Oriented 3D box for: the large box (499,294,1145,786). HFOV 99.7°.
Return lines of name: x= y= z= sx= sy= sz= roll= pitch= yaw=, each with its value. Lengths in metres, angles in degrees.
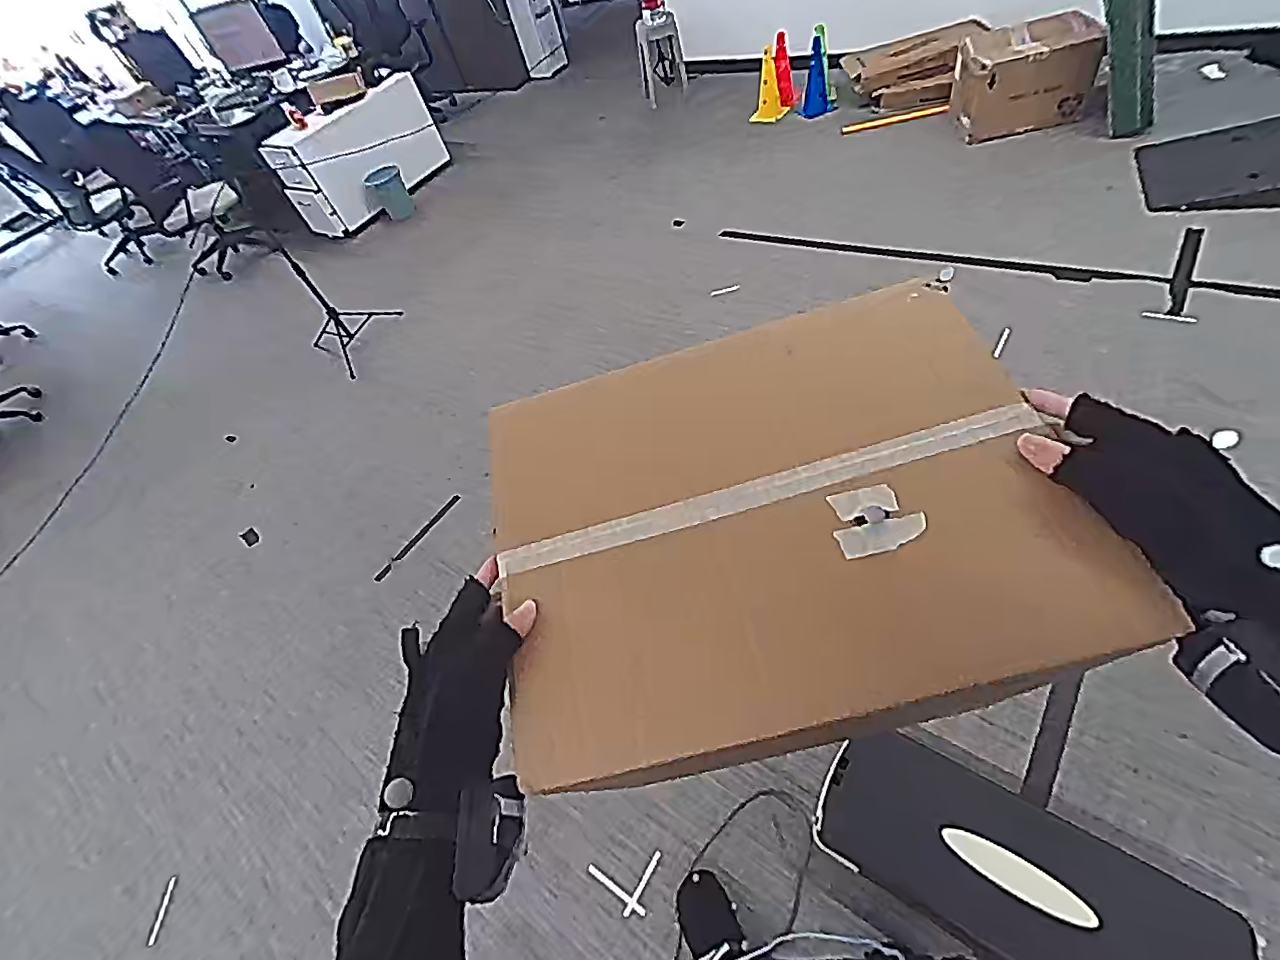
large box: x=0.117 y=0.088 z=0.542 sx=0.408 sy=0.320 sz=0.320 roll=-16 pitch=60 yaw=4
